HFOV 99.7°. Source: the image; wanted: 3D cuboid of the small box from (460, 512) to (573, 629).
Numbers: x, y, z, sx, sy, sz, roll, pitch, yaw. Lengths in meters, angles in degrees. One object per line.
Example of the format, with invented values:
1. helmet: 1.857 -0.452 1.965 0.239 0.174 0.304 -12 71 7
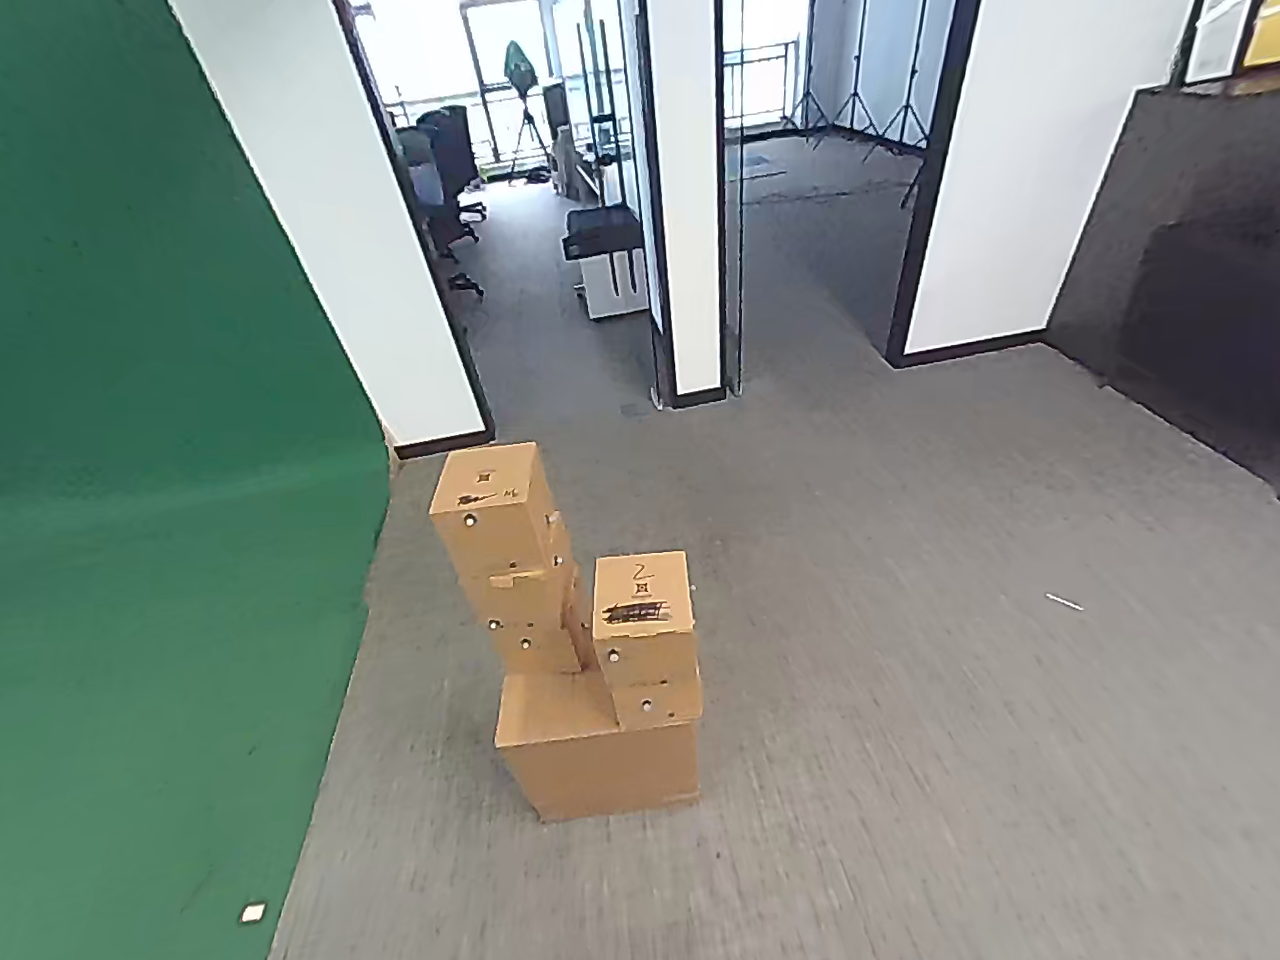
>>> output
1. small box: -0.240 0.188 1.104 0.168 0.176 0.179 -3 38 7

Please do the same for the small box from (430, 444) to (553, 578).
1. small box: -0.262 0.058 1.006 0.168 0.176 0.179 -8 38 2

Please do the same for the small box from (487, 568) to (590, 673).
1. small box: -0.217 0.315 1.207 0.179 0.176 0.168 -3 40 5

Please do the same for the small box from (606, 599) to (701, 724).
1. small box: 0.028 0.372 1.095 0.168 0.176 0.179 -9 40 -1
